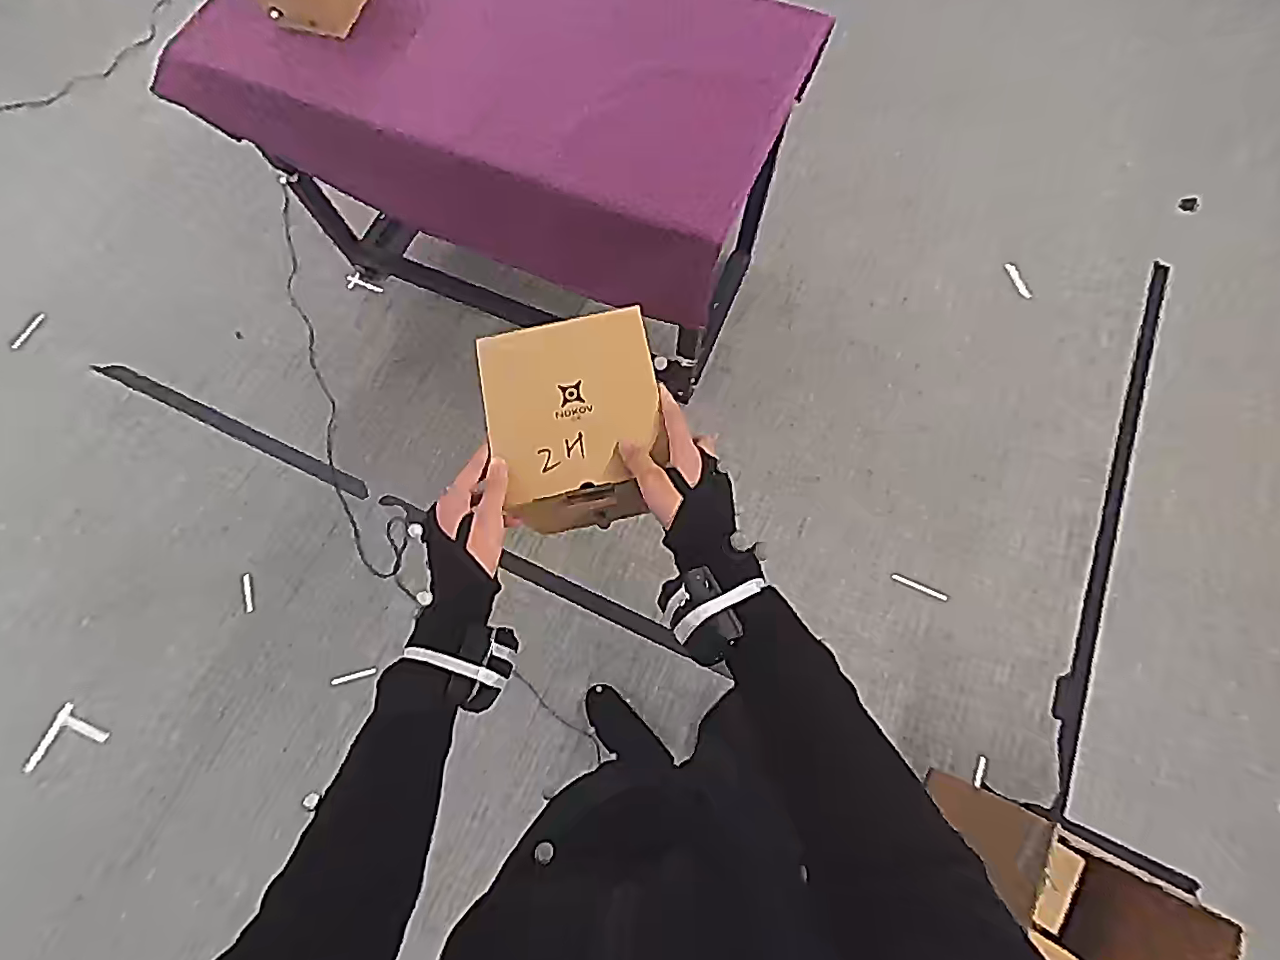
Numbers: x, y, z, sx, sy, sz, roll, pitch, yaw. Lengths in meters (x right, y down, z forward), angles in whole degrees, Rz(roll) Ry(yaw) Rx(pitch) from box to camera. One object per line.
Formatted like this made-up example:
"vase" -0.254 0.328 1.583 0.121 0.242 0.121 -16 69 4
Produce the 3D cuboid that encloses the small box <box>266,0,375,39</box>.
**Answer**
"small box" -0.647 -1.013 1.055 0.168 0.176 0.179 15 74 5

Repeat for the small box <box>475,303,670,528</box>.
"small box" -0.065 -0.058 0.586 0.168 0.176 0.179 -12 75 0
